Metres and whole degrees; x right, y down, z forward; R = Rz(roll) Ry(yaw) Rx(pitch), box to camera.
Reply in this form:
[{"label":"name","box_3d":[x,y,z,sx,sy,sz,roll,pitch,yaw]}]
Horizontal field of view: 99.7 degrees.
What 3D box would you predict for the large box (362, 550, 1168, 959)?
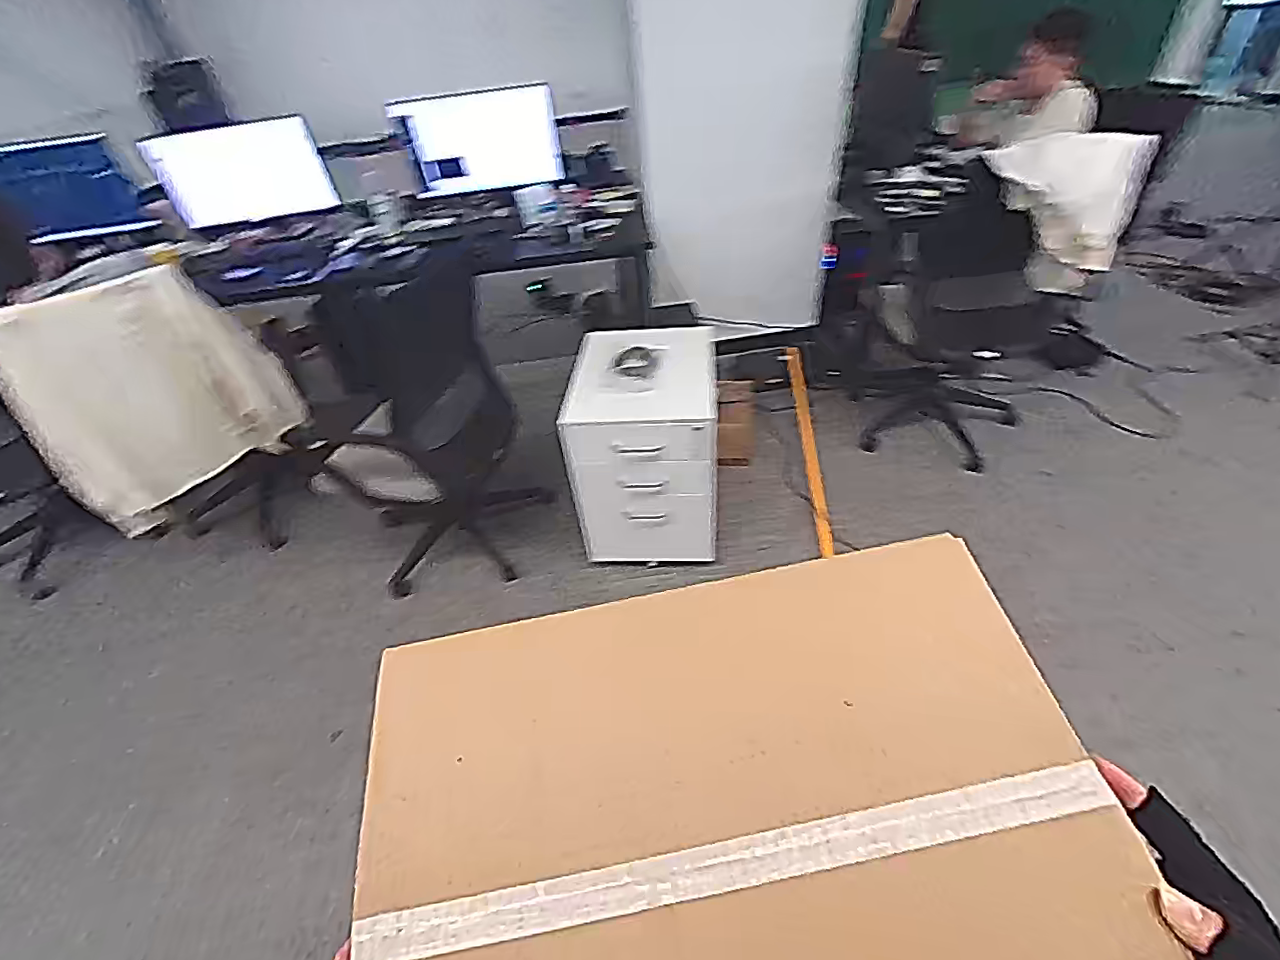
[{"label":"large box","box_3d":[0.061,0.296,0.416,0.408,0.320,0.320,-12,54,-1]}]
